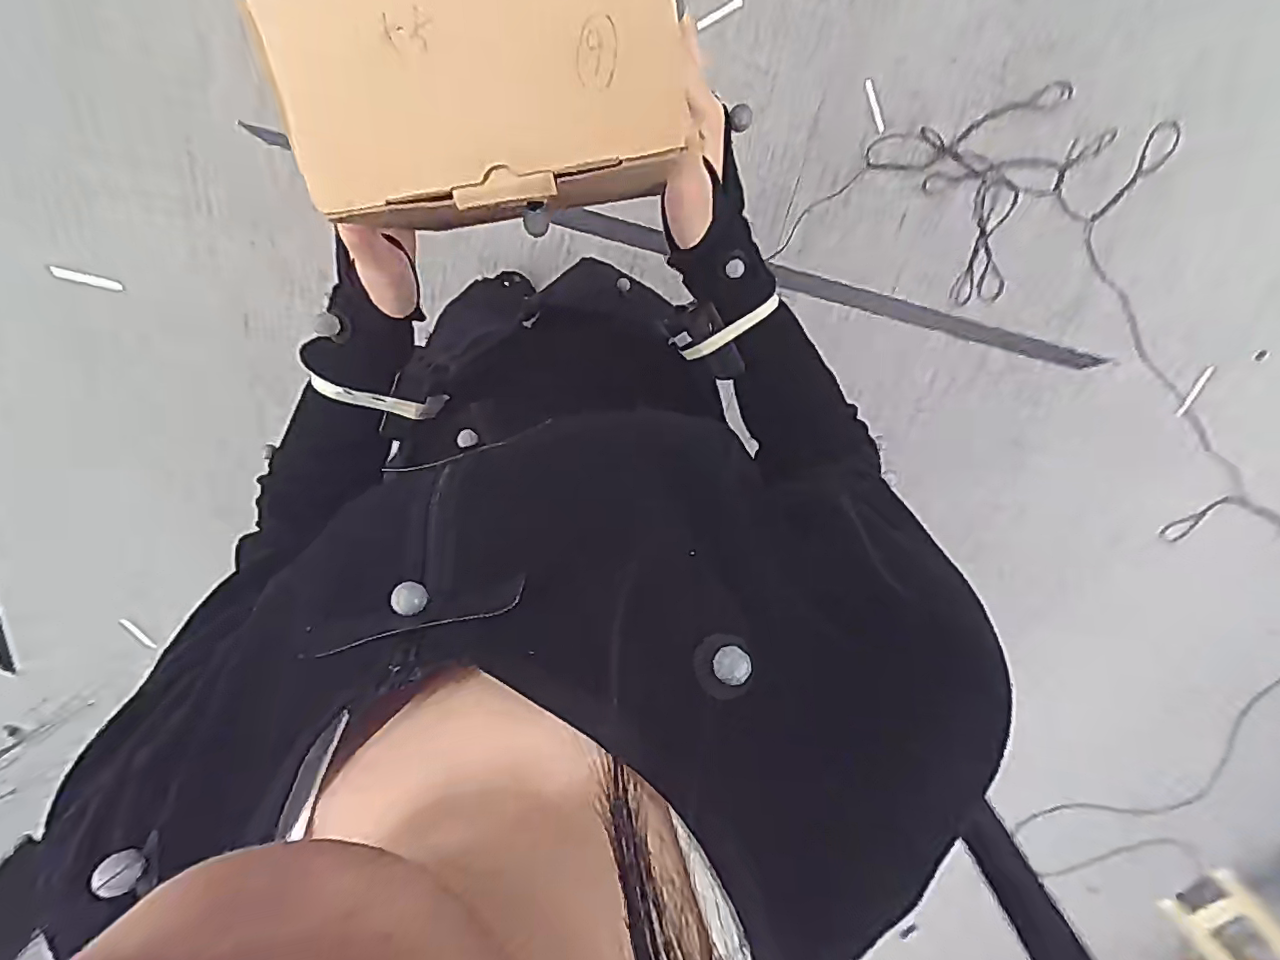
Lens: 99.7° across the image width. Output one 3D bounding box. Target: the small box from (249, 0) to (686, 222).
[{"bbox_3d":[-0.071,-0.236,0.272,0.168,0.176,0.179,-8,114,1],"label":"small box"}]
